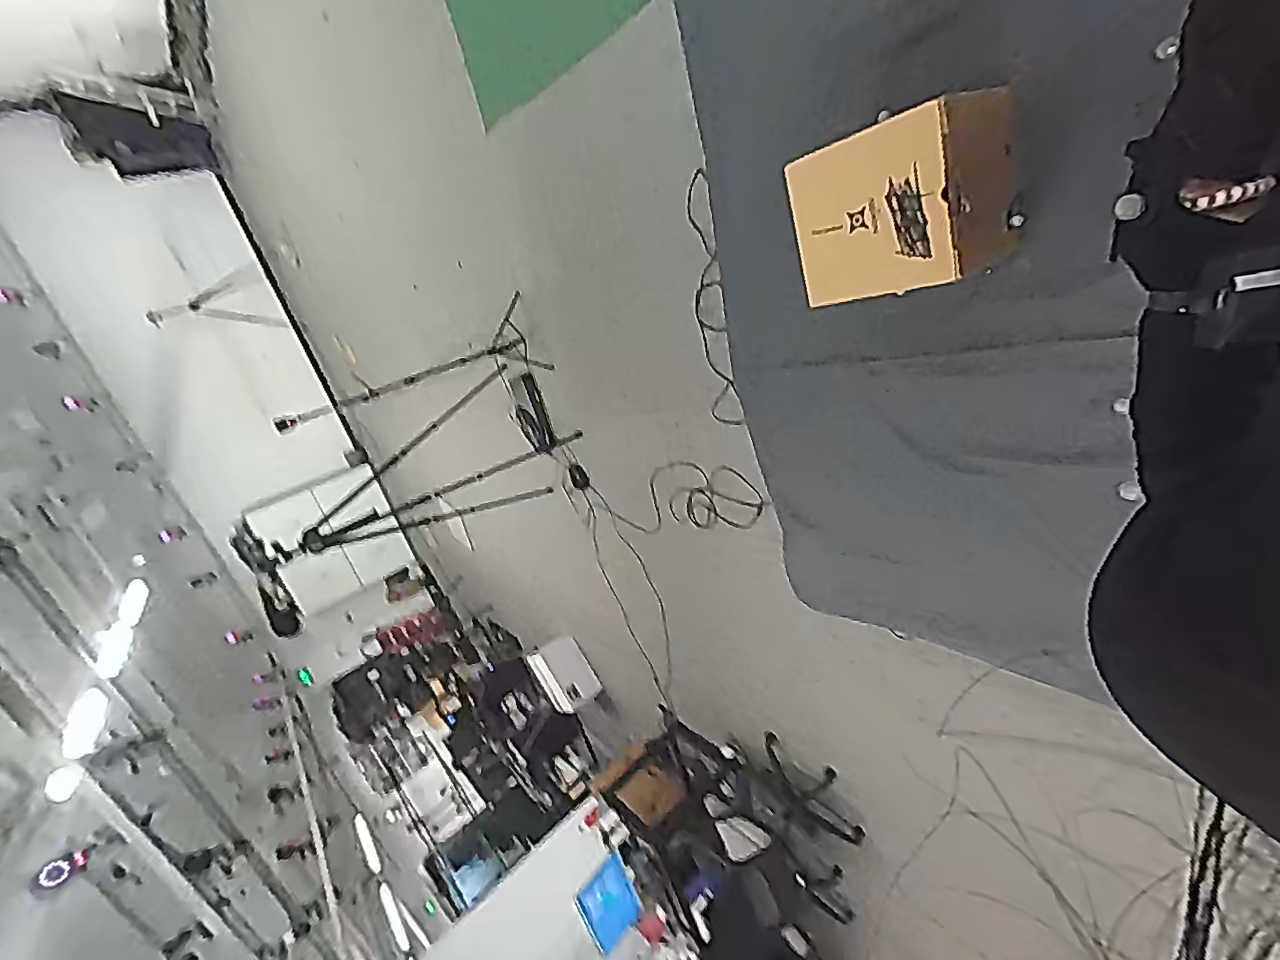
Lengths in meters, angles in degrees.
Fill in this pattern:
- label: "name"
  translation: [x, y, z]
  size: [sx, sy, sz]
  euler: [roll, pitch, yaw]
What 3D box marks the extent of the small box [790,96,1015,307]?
- label: "small box"
  translation: [0.309, -0.316, 0.627]
  size: [0.179, 0.176, 0.168]
  euler: [10, 123, 53]
